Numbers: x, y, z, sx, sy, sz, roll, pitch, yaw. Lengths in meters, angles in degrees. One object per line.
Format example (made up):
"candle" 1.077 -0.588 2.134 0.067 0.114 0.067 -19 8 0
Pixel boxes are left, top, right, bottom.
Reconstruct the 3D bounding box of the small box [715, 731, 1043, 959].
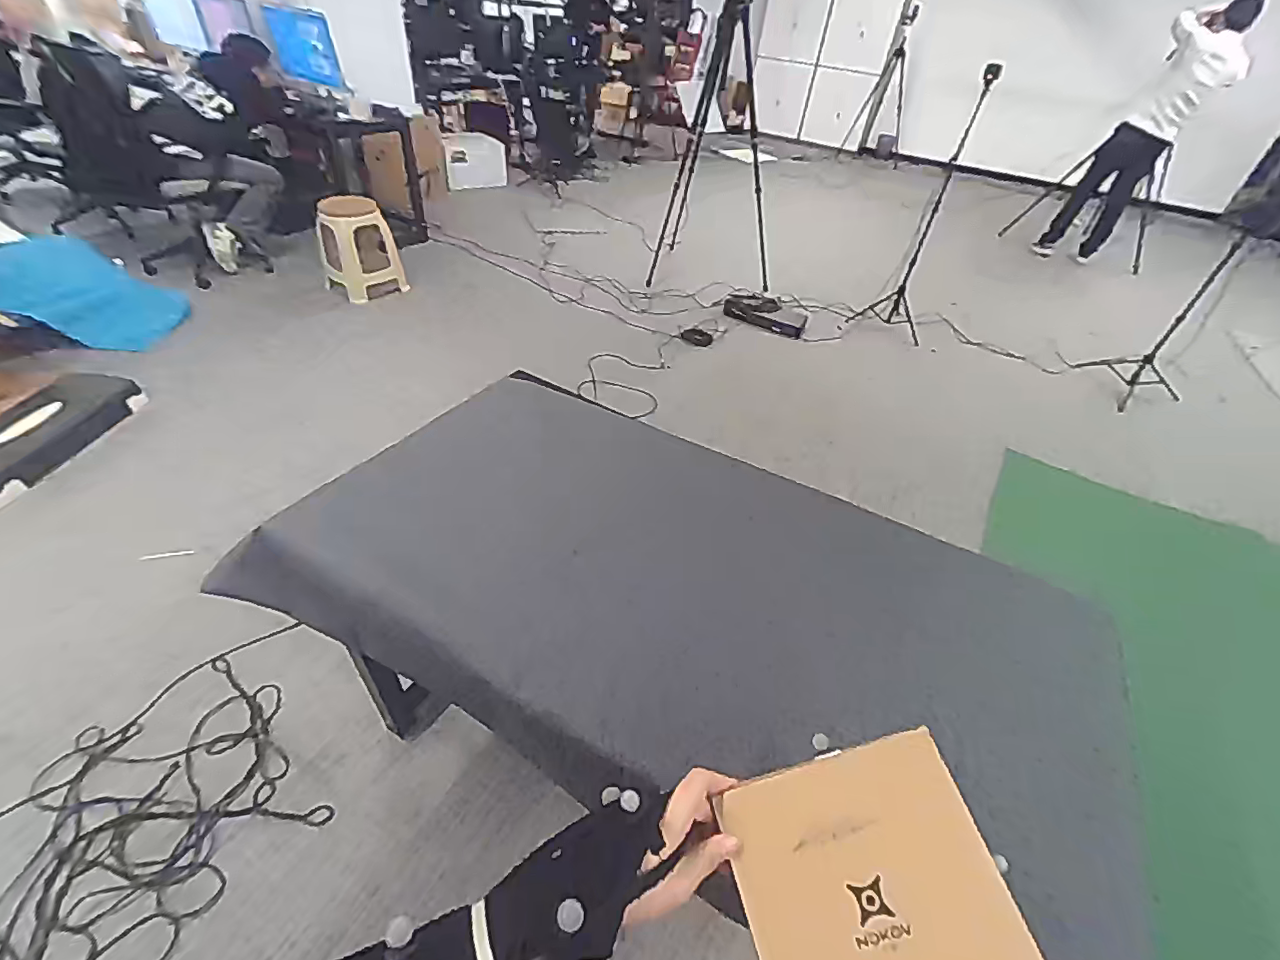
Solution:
"small box" 0.174 0.313 0.422 0.168 0.176 0.179 -22 59 4
